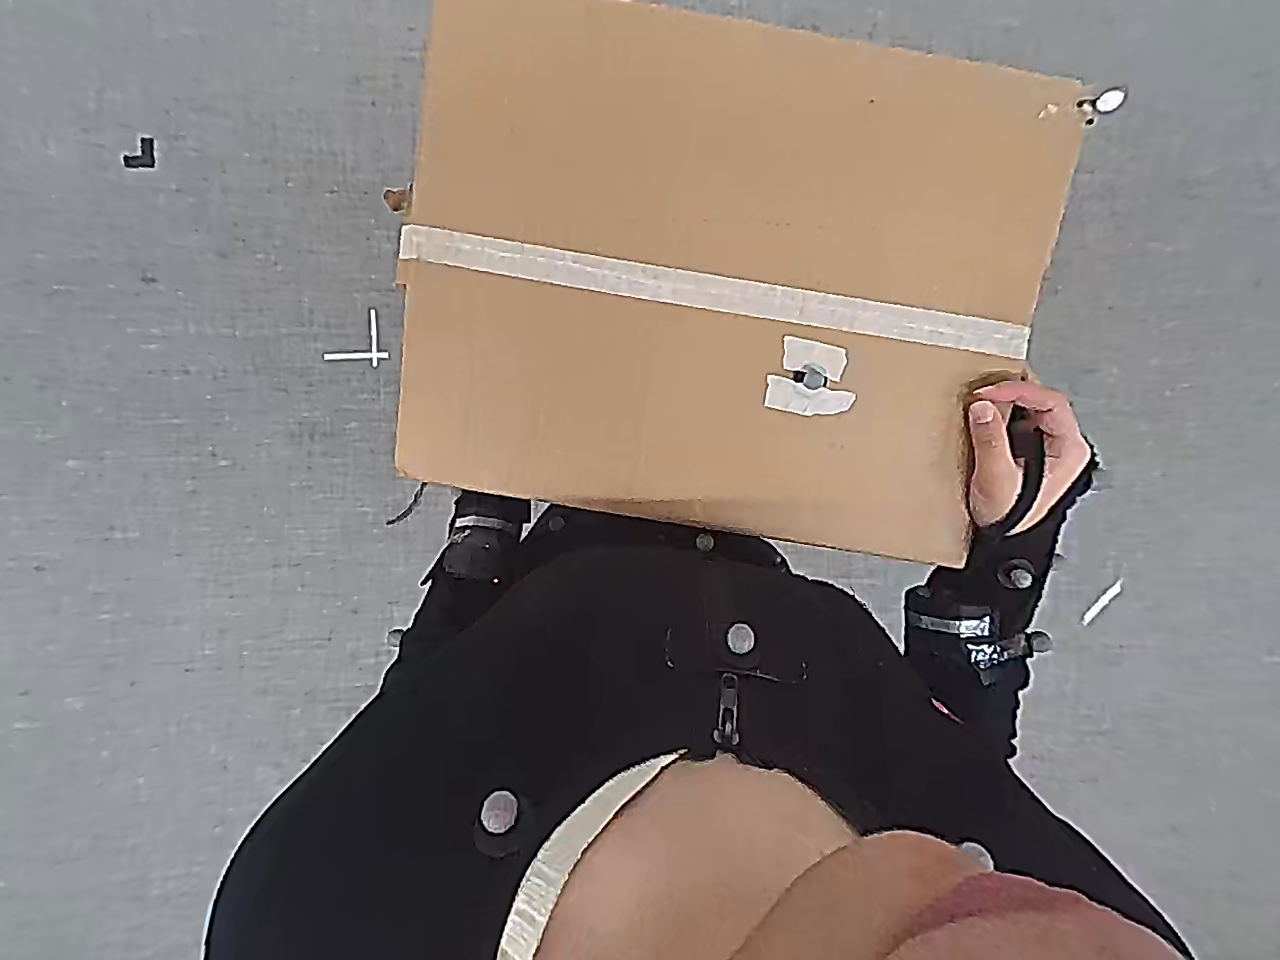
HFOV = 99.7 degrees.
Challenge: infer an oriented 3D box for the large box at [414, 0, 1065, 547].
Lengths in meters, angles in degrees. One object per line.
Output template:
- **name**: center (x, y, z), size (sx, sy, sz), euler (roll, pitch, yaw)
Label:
- **large box**: center (0.052, -0.149, 0.508), size (0.408, 0.320, 0.320), euler (8, 101, -2)
